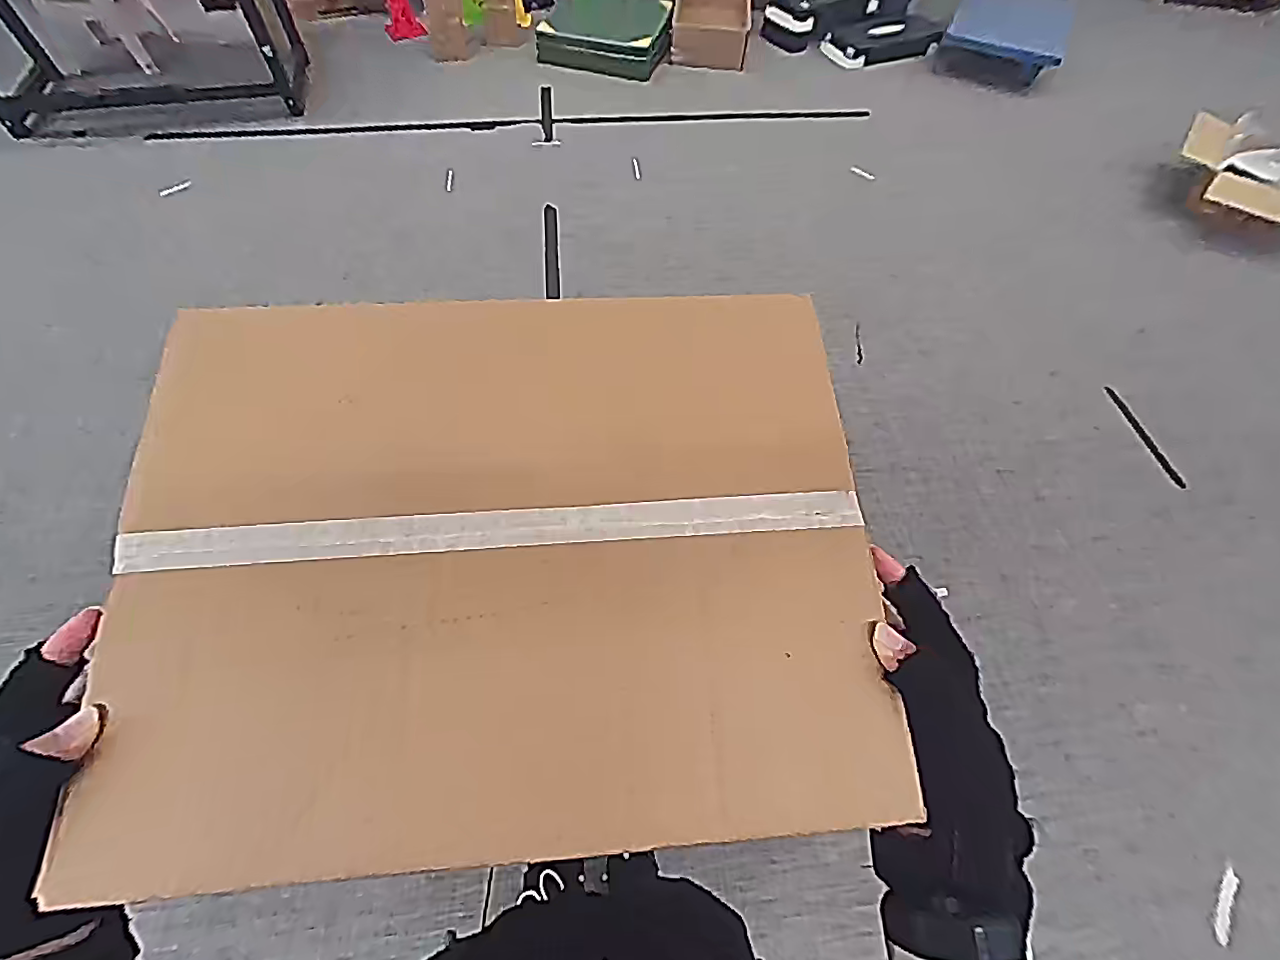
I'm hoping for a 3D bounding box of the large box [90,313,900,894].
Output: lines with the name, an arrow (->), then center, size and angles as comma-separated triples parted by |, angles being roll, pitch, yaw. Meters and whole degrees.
large box -> -0.081, 0.088, 0.455 | 0.408, 0.320, 0.320 | -3, 71, -4
